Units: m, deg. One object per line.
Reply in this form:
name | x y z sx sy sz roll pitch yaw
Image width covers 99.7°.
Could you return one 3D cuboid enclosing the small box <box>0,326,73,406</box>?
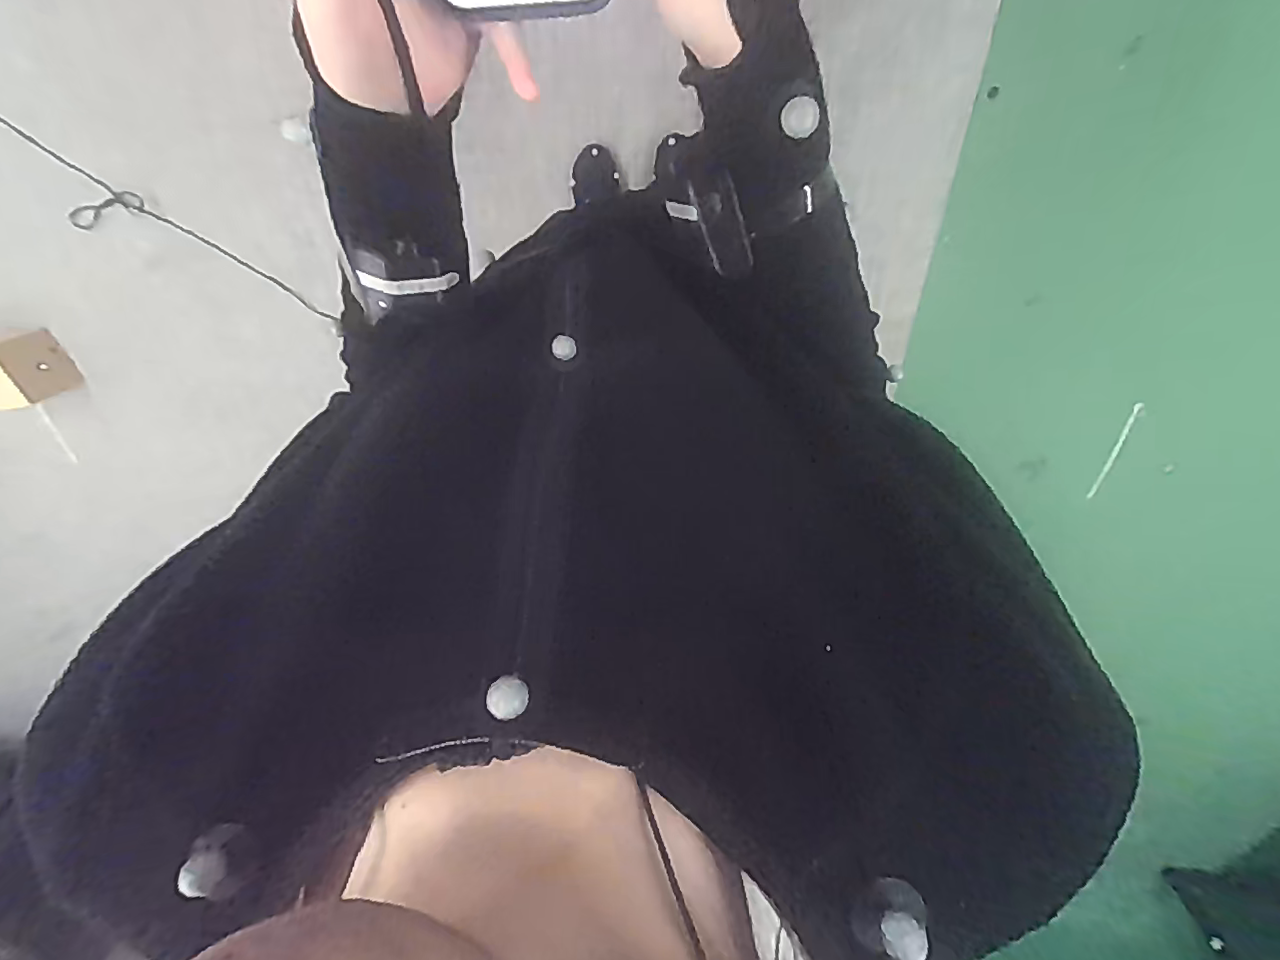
small box | -1.707 -0.307 1.457 0.179 0.176 0.168 -5 122 6
